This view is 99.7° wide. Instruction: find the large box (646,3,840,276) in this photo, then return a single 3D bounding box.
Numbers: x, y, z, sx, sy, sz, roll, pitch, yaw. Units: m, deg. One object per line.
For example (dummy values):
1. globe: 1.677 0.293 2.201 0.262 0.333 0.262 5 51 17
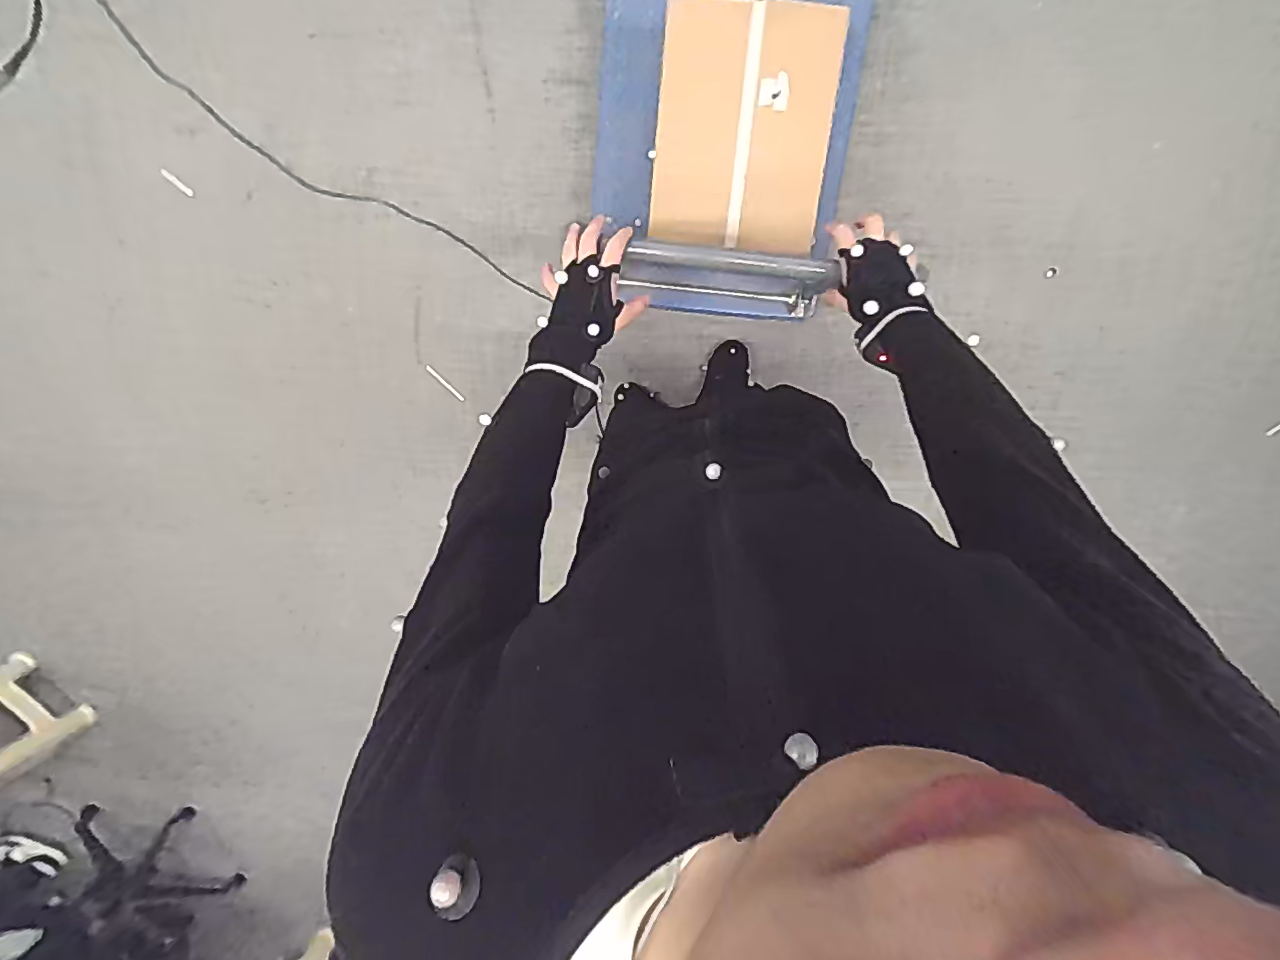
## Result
1. large box: 0.186 -0.661 1.129 0.320 0.320 0.408 6 105 0
